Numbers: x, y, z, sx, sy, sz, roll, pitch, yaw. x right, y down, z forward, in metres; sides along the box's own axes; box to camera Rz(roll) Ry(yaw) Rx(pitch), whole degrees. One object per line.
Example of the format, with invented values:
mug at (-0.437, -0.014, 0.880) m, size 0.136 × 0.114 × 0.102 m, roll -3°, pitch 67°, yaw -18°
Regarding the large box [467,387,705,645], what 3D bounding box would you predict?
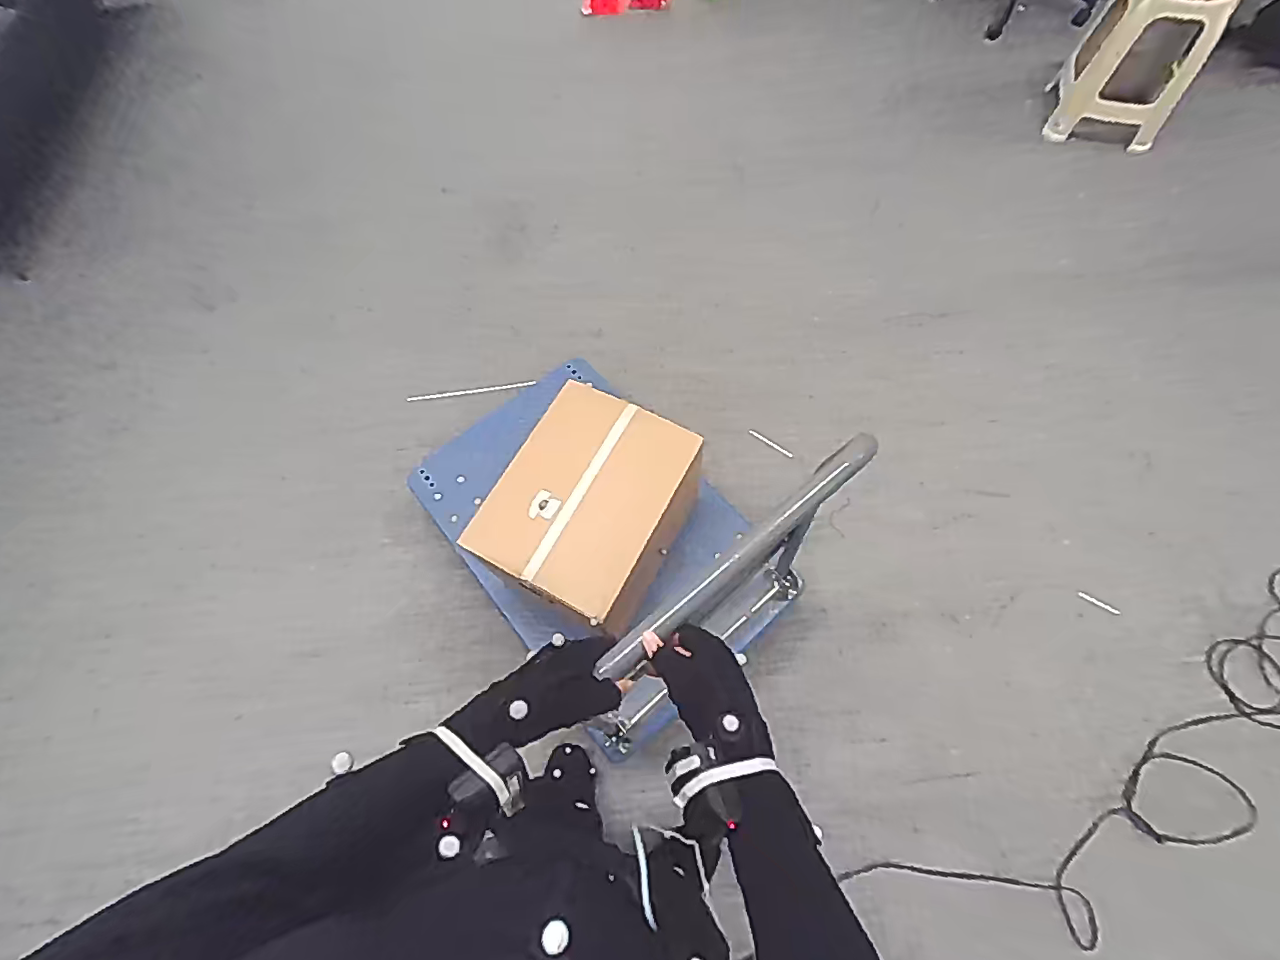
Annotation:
large box at (-0.088, 0.087, 1.161) m, size 0.320 × 0.320 × 0.408 m, roll 26°, pitch 71°, yaw 14°
